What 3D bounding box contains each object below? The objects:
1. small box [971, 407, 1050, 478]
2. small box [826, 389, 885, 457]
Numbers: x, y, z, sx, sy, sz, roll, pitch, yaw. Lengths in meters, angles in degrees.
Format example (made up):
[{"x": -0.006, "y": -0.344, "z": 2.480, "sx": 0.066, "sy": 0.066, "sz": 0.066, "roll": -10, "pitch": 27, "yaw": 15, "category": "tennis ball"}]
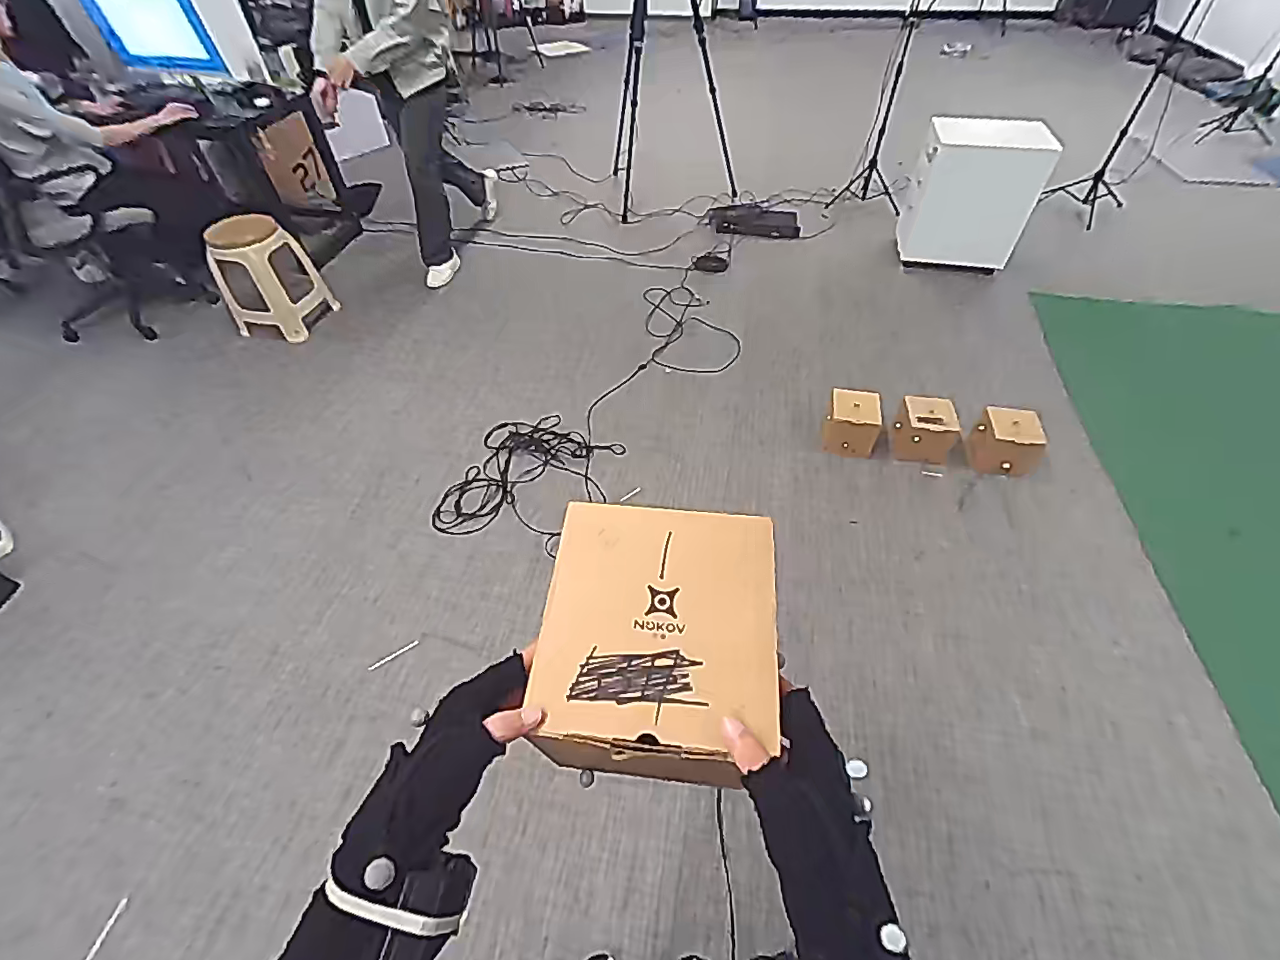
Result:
[{"x": 1.318, "y": -0.134, "z": 1.940, "sx": 0.168, "sy": 0.176, "sz": 0.179, "roll": 9, "pitch": 50, "yaw": 9, "category": "small box"}, {"x": 0.800, "y": -0.212, "z": 2.021, "sx": 0.168, "sy": 0.176, "sz": 0.179, "roll": 9, "pitch": 50, "yaw": 9, "category": "small box"}]
